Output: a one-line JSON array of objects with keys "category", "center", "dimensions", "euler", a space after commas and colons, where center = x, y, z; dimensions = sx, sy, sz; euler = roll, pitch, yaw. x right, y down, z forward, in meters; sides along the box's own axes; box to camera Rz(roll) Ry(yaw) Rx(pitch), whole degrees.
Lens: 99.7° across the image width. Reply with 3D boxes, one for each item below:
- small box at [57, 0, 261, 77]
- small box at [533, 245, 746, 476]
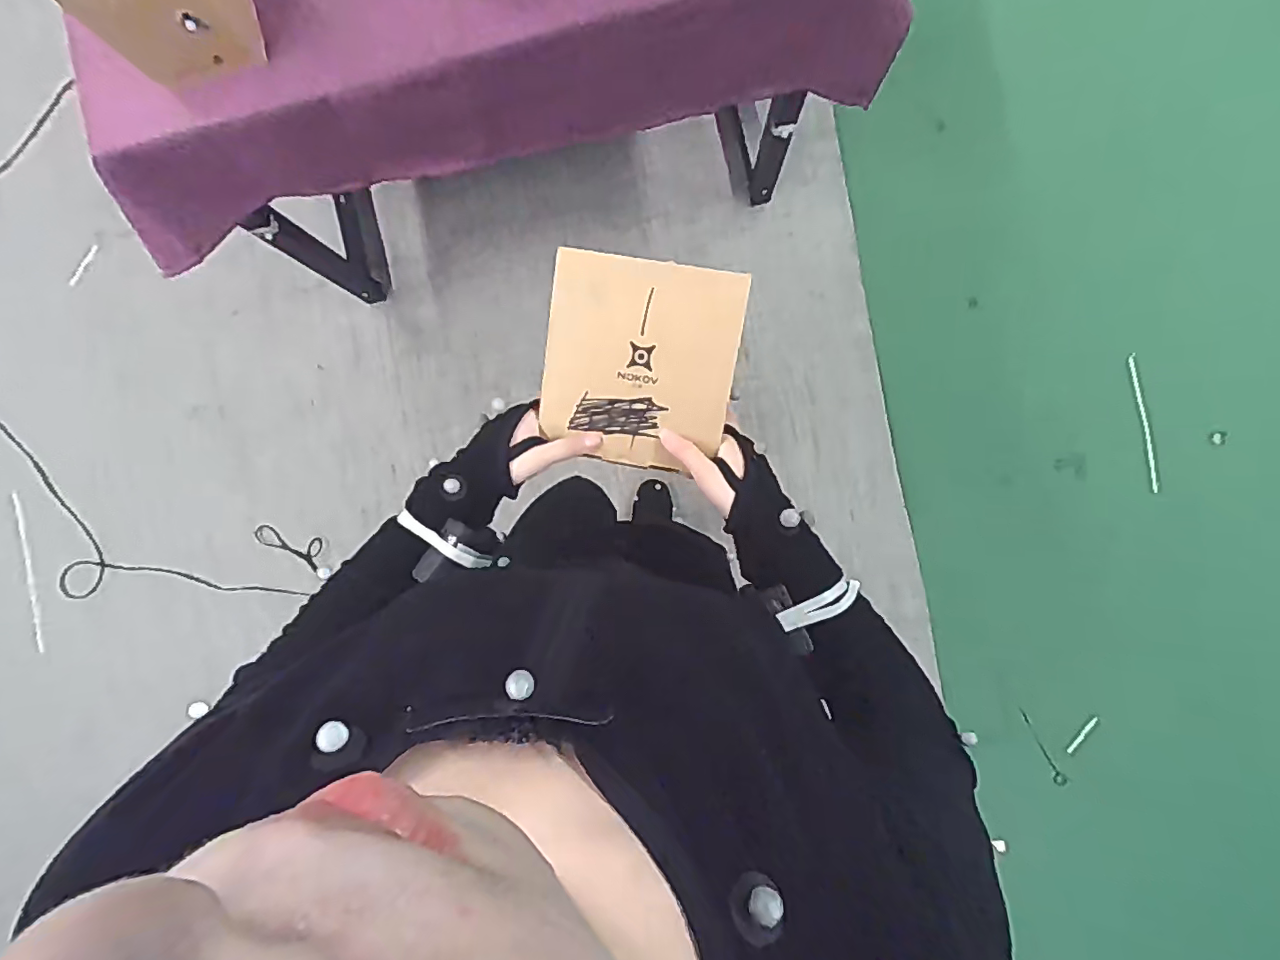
[{"category": "small box", "center": [-0.660, -0.692, 0.733], "dimensions": [0.168, 0.176, 0.179], "euler": [-14, 88, 1]}, {"category": "small box", "center": [0.002, -0.118, 0.547], "dimensions": [0.168, 0.176, 0.179], "euler": [10, 103, 2]}]
